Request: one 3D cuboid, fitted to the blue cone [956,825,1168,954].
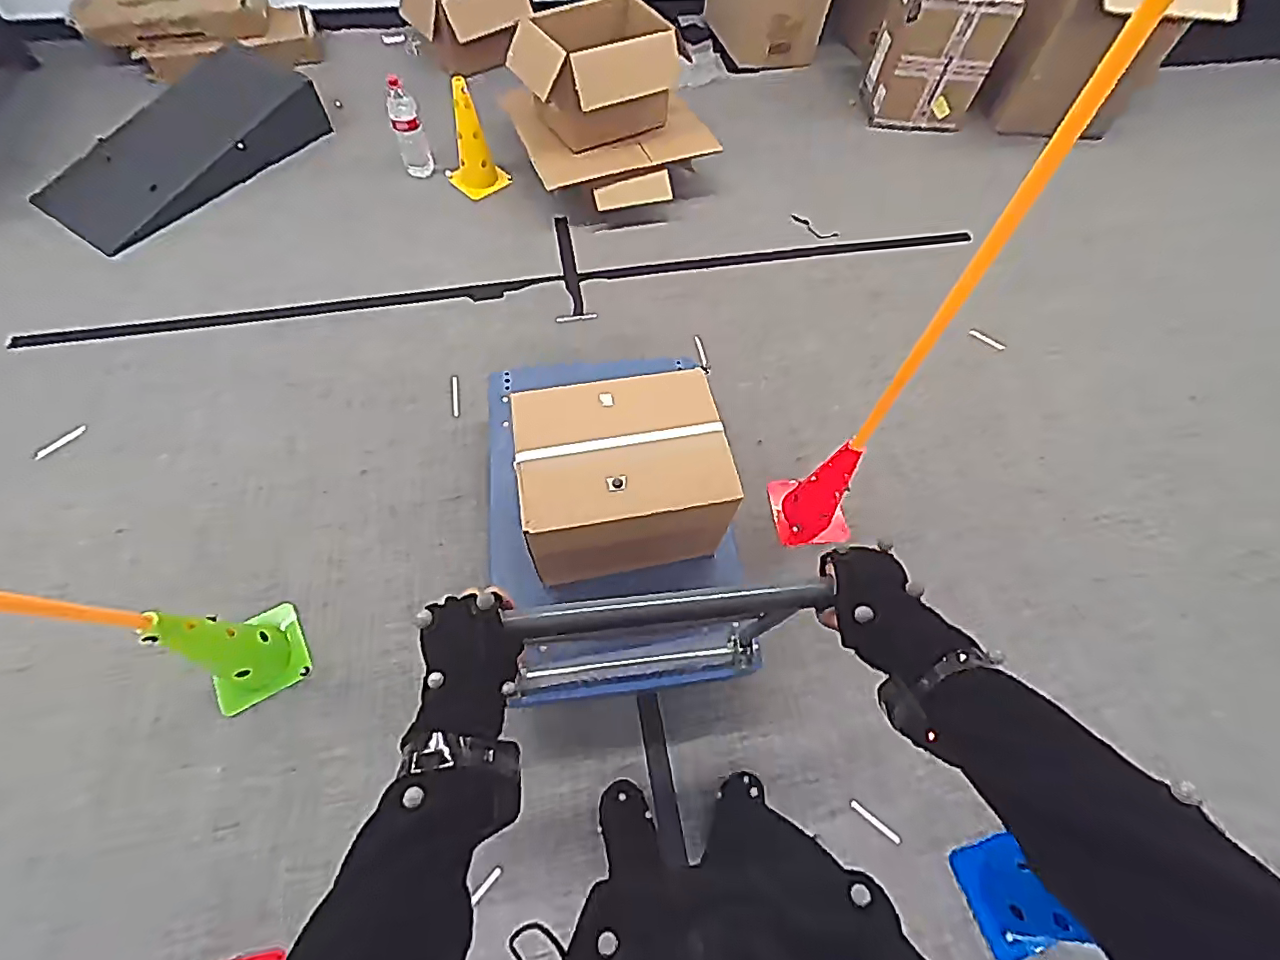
[{"bbox_3d":[0.788,0.773,0.986,0.193,0.380,0.192,-12,62,-10],"label":"blue cone"}]

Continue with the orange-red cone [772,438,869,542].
[{"bbox_3d":[0.489,0.002,1.368,0.199,0.360,0.198,-2,63,-6],"label":"orange-red cone"}]
